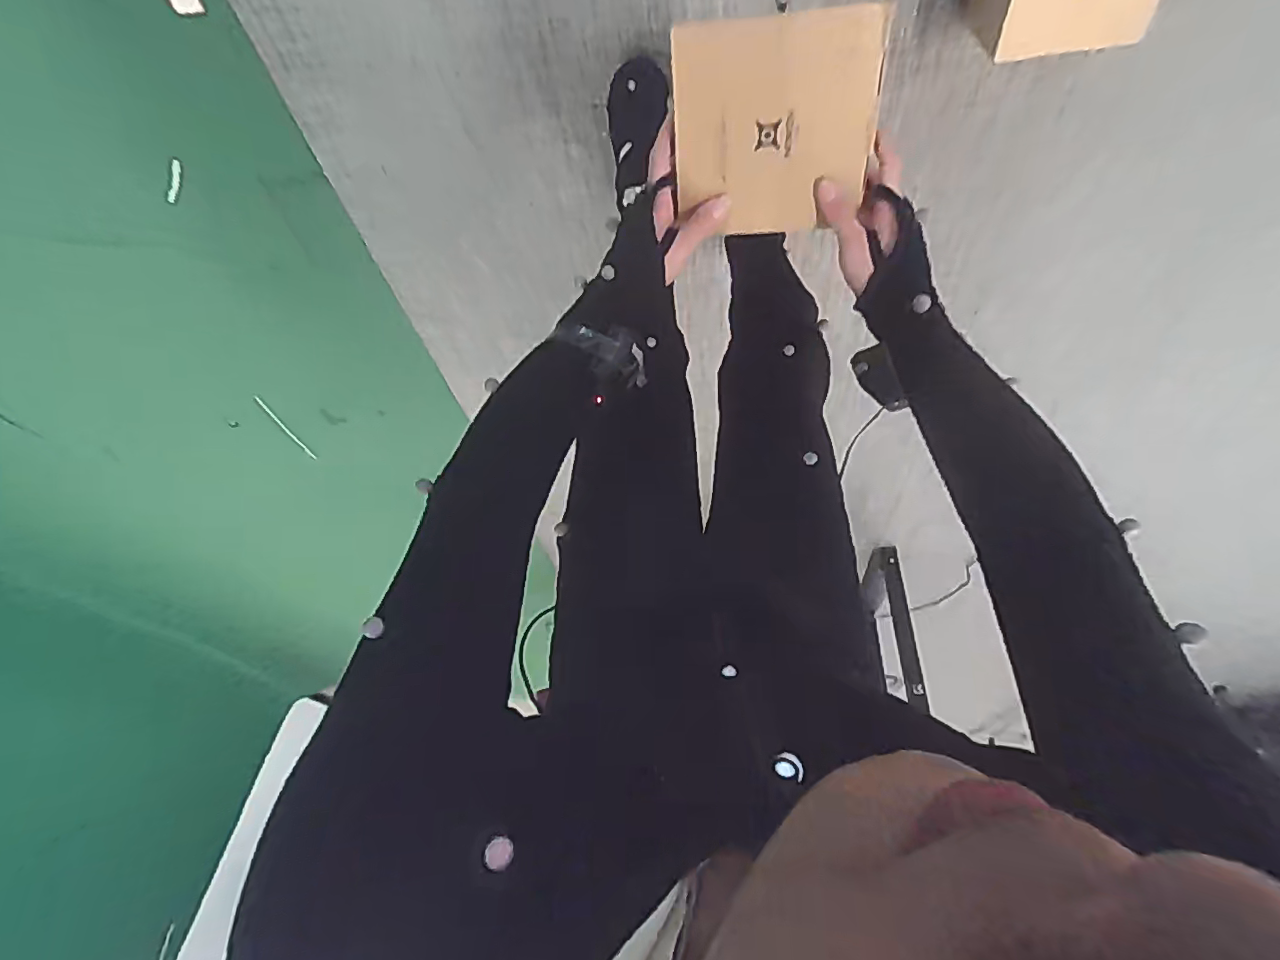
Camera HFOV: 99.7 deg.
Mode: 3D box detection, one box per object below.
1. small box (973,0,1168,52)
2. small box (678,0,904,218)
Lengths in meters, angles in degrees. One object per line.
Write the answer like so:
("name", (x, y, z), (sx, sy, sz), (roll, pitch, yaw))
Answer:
("small box", (0.545, -0.666, 0.668), (0.179, 0.176, 0.168), (-2, 144, 10))
("small box", (0.130, -0.369, 0.530), (0.179, 0.176, 0.168), (2, 130, 9))
